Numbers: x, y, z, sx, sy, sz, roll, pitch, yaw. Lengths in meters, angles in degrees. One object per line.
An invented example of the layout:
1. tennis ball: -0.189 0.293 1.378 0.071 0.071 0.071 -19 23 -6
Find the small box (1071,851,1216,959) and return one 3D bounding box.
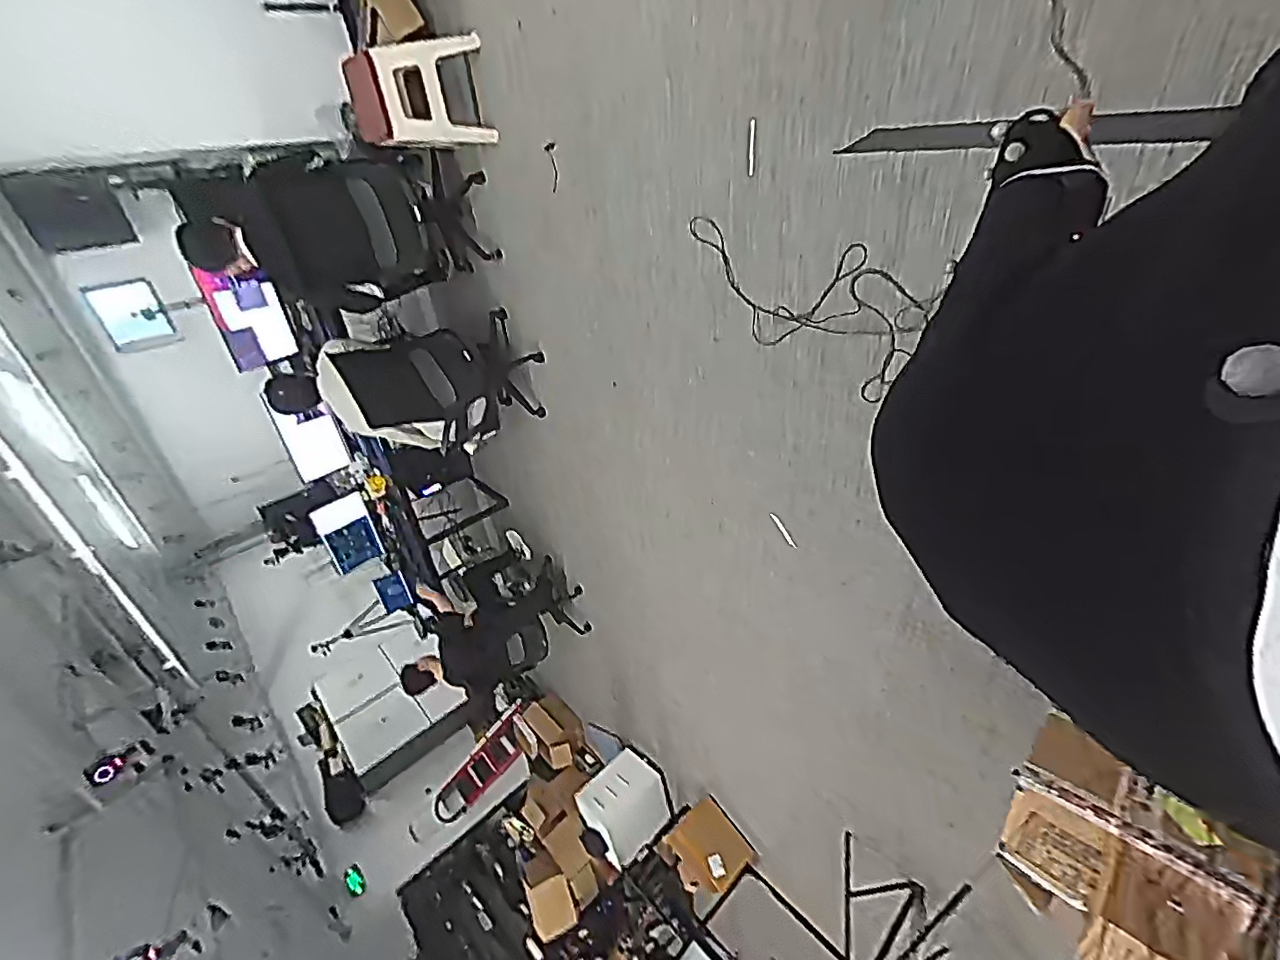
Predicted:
1. small box: 0.996 0.898 1.070 0.168 0.176 0.179 21 126 42
